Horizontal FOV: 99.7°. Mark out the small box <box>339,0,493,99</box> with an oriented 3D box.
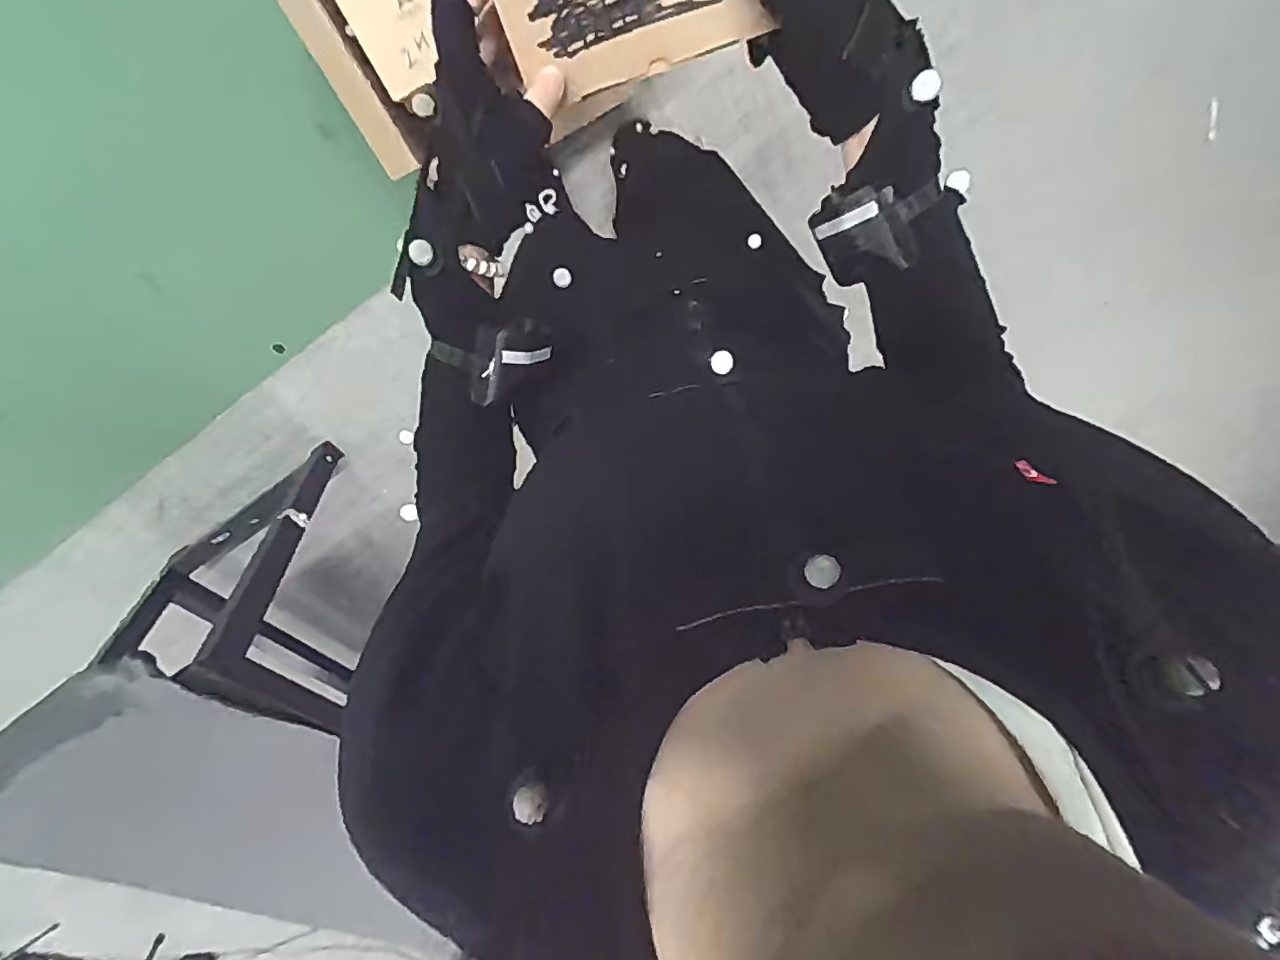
[{"bbox_3d":[-0.334,-0.697,0.800,0.168,0.176,0.179,-24,126,4],"label":"small box"}]
